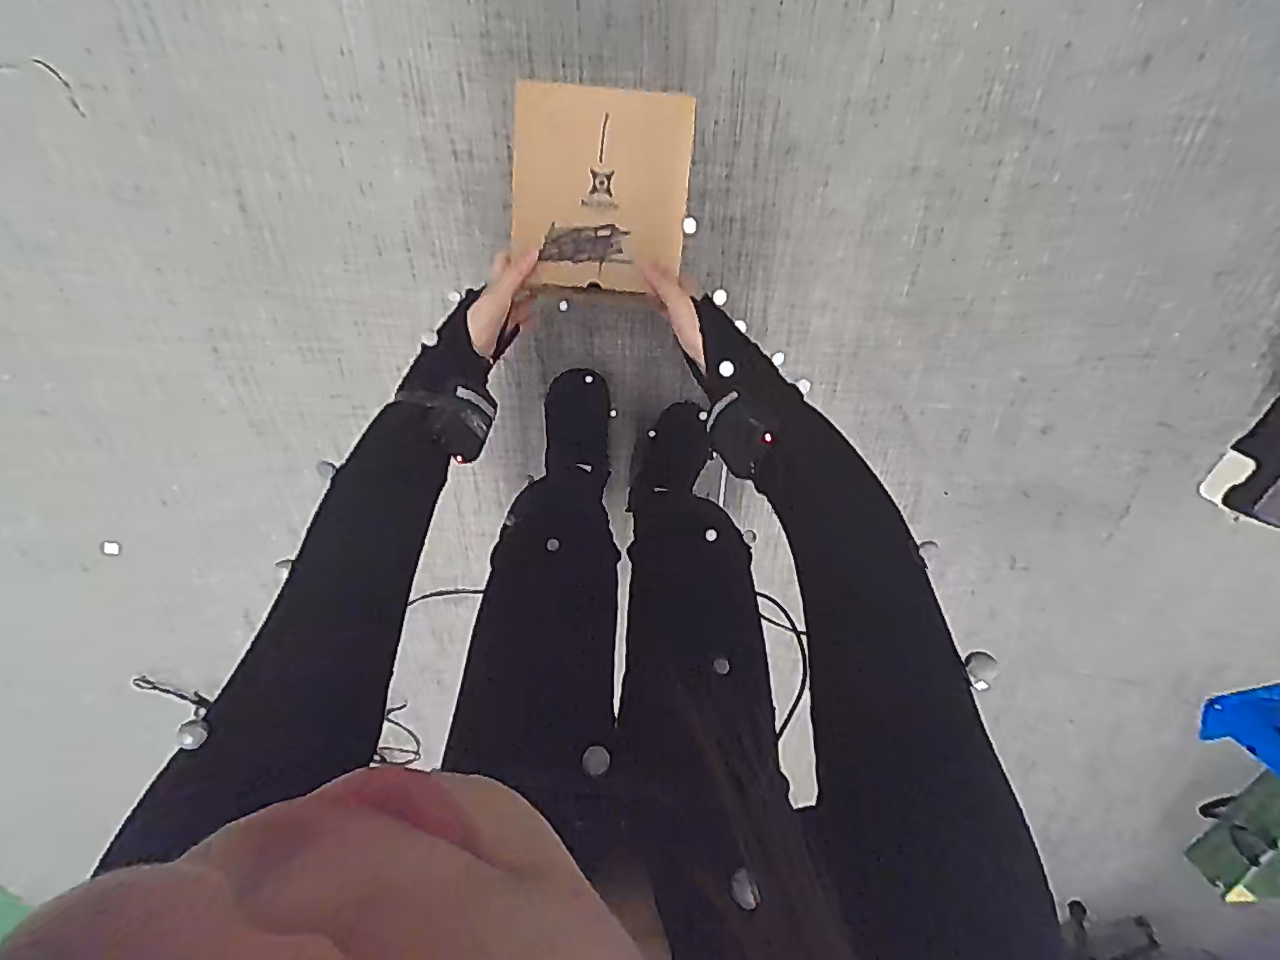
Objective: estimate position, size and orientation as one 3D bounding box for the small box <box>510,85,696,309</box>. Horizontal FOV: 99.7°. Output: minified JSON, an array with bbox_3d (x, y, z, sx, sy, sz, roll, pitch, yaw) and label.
[{"bbox_3d":[-0.036,-0.284,0.584,0.168,0.176,0.179,5,104,-1],"label":"small box"}]
